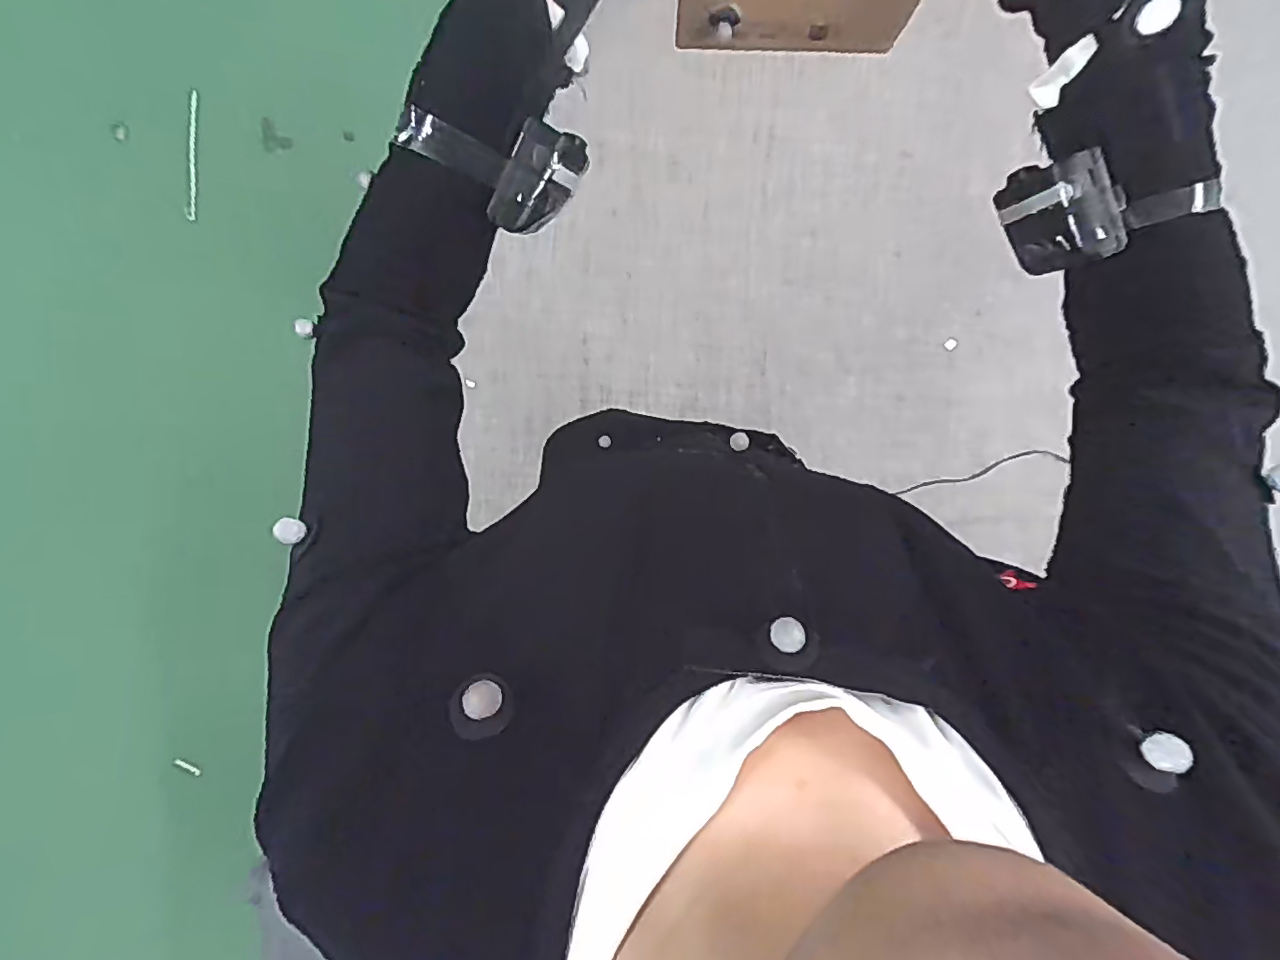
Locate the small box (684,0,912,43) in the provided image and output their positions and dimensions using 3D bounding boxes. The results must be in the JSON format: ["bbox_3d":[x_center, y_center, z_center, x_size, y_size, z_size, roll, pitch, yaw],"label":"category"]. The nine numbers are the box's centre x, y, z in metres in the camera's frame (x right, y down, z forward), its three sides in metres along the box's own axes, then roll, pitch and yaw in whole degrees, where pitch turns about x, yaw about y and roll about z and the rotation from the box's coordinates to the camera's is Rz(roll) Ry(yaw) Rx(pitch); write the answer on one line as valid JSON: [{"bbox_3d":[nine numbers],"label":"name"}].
[{"bbox_3d":[0.116,-0.415,0.330,0.168,0.176,0.179,2,91,-1],"label":"small box"}]
